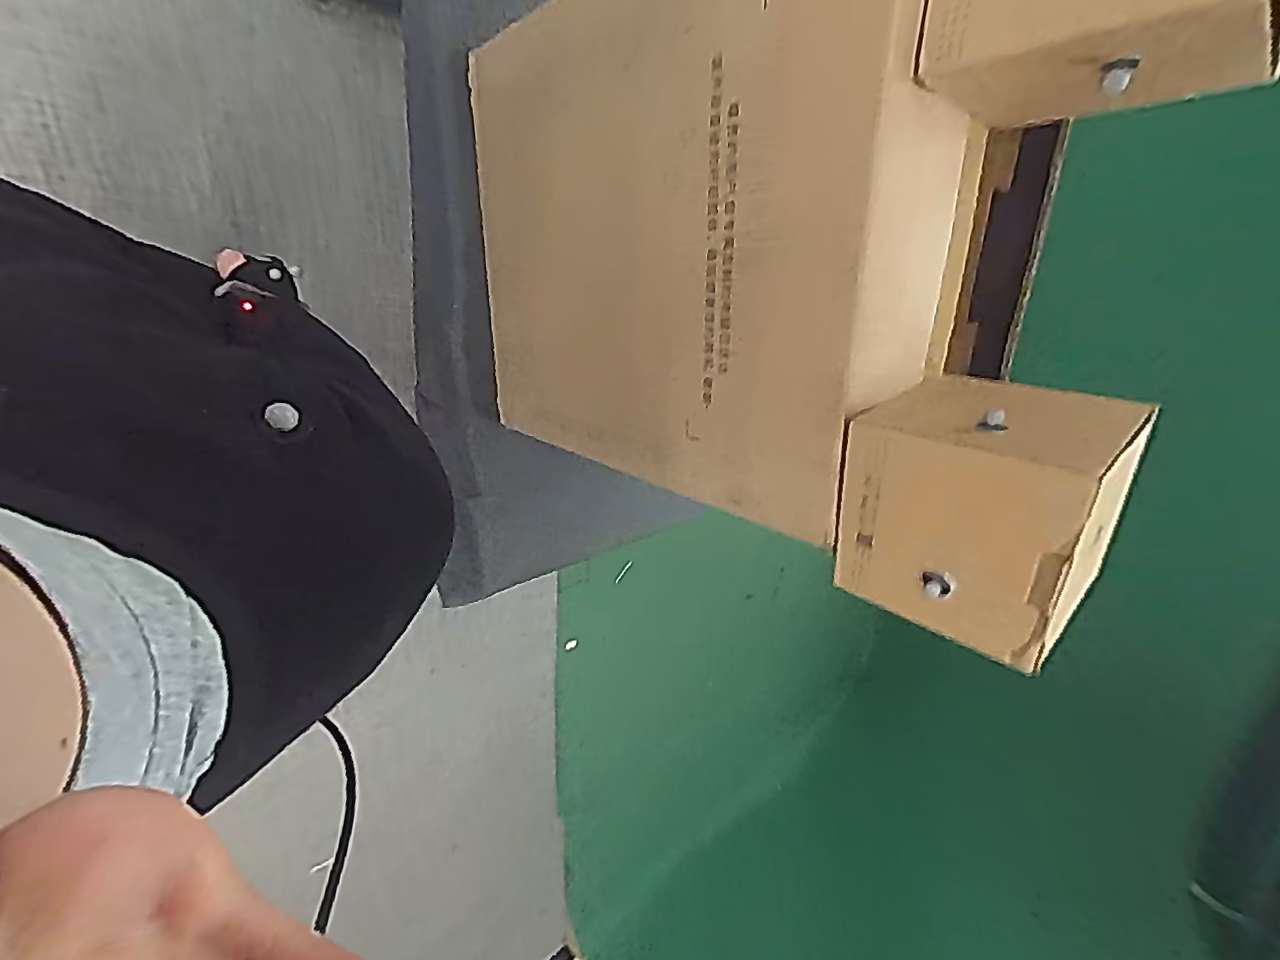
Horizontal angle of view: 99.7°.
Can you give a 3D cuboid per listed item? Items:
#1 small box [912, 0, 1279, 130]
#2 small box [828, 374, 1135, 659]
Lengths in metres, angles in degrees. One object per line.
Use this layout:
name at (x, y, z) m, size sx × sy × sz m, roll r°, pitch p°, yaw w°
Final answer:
small box at (0.304, -0.349, 0.352) m, size 0.179 × 0.176 × 0.168 m, roll -16°, pitch 115°, yaw -39°
small box at (0.287, 0.014, 0.478) m, size 0.179 × 0.176 × 0.168 m, roll -26°, pitch 125°, yaw -36°
